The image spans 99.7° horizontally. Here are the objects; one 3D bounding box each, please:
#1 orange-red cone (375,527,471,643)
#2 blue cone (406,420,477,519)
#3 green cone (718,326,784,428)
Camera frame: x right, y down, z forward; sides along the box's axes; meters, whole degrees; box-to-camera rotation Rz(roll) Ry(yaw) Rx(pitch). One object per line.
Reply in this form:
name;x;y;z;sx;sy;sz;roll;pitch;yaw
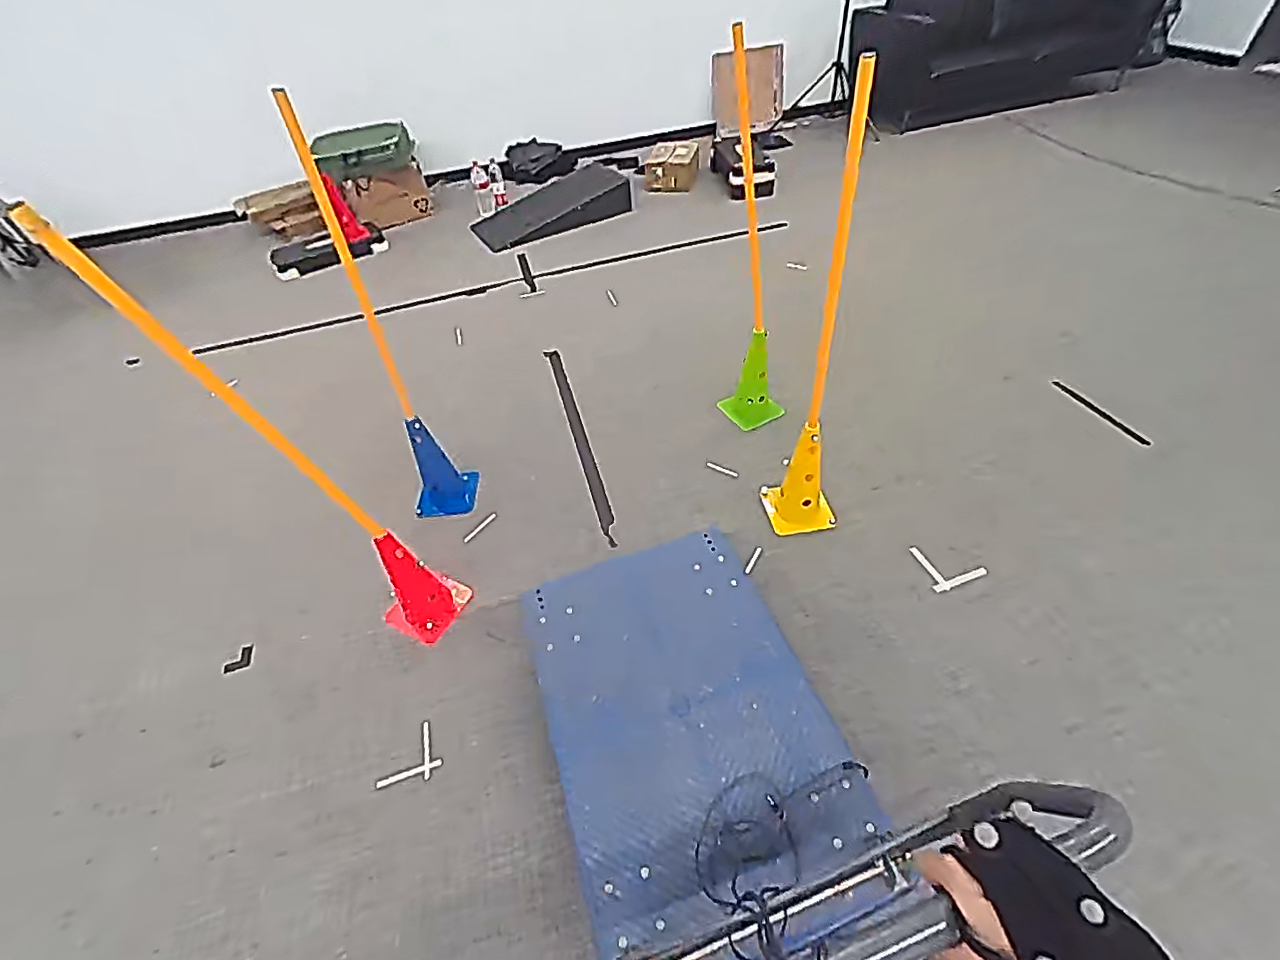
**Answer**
orange-red cone;-0.639;0.253;1.484;0.198;0.360;0.199;19;50;21
blue cone;-0.690;-0.054;1.801;0.193;0.380;0.192;-4;47;2
green cone;0.422;-0.403;1.996;0.200;0.368;0.202;-26;51;-18
